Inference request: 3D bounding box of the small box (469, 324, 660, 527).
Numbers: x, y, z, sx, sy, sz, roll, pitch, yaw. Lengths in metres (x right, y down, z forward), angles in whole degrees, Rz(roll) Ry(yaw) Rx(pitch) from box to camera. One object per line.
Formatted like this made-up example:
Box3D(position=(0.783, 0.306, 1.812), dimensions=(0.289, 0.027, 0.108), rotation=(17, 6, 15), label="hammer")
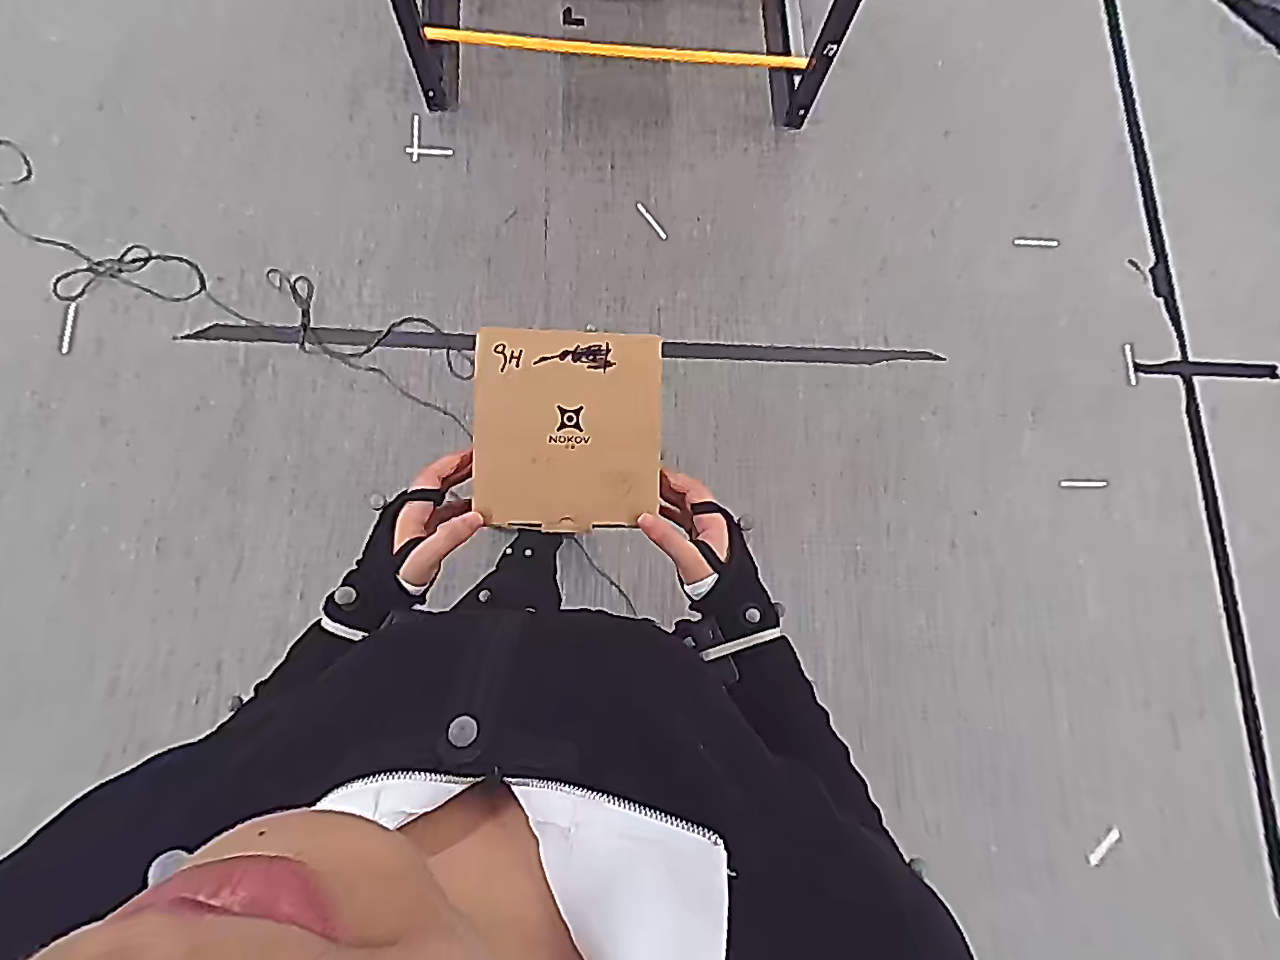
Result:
Box3D(position=(-0.072, -0.047, 0.555), dimensions=(0.168, 0.176, 0.179), rotation=(1, 89, -6), label="small box")
